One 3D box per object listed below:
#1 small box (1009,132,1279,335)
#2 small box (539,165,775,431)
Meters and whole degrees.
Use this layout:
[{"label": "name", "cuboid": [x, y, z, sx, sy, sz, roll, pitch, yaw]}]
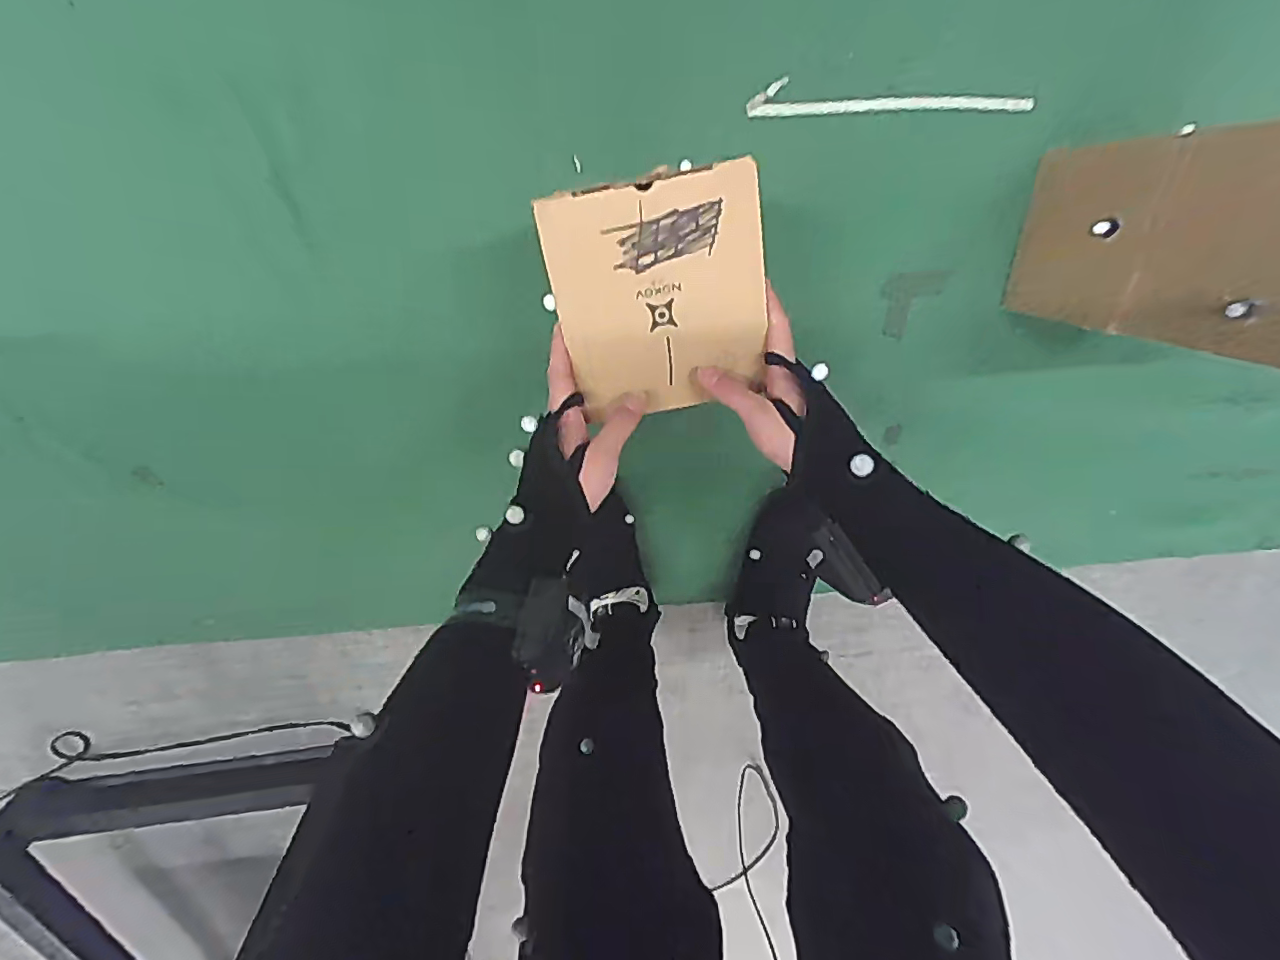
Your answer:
[{"label": "small box", "cuboid": [0.545, -0.260, 0.584, 0.168, 0.176, 0.179, -3, 116, -4]}, {"label": "small box", "cuboid": [0.015, -0.165, 0.491, 0.168, 0.176, 0.179, -10, 116, 2]}]
